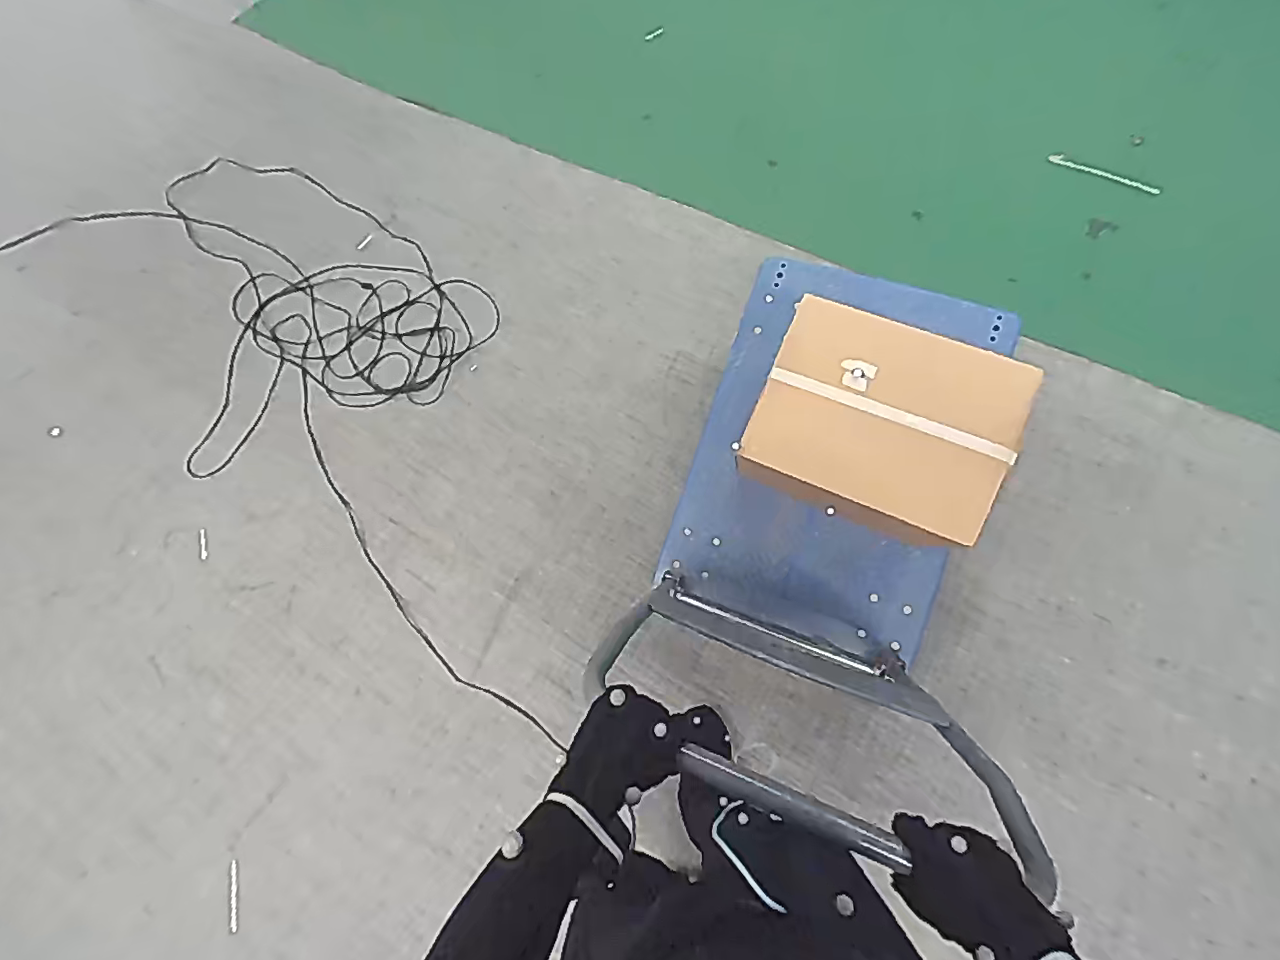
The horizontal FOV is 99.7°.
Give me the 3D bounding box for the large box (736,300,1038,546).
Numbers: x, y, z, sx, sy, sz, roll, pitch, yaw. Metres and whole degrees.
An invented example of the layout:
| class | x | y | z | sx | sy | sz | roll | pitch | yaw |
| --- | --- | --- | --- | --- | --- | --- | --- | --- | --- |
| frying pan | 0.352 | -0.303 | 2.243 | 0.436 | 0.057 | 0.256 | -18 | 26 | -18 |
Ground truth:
| class | x | y | z | sx | sy | sz | roll | pitch | yaw |
| --- | --- | --- | --- | --- | --- | --- | --- | --- | --- |
| large box | 0.436 | -0.091 | 1.052 | 0.408 | 0.320 | 0.320 | 24 | 89 | 13 |
